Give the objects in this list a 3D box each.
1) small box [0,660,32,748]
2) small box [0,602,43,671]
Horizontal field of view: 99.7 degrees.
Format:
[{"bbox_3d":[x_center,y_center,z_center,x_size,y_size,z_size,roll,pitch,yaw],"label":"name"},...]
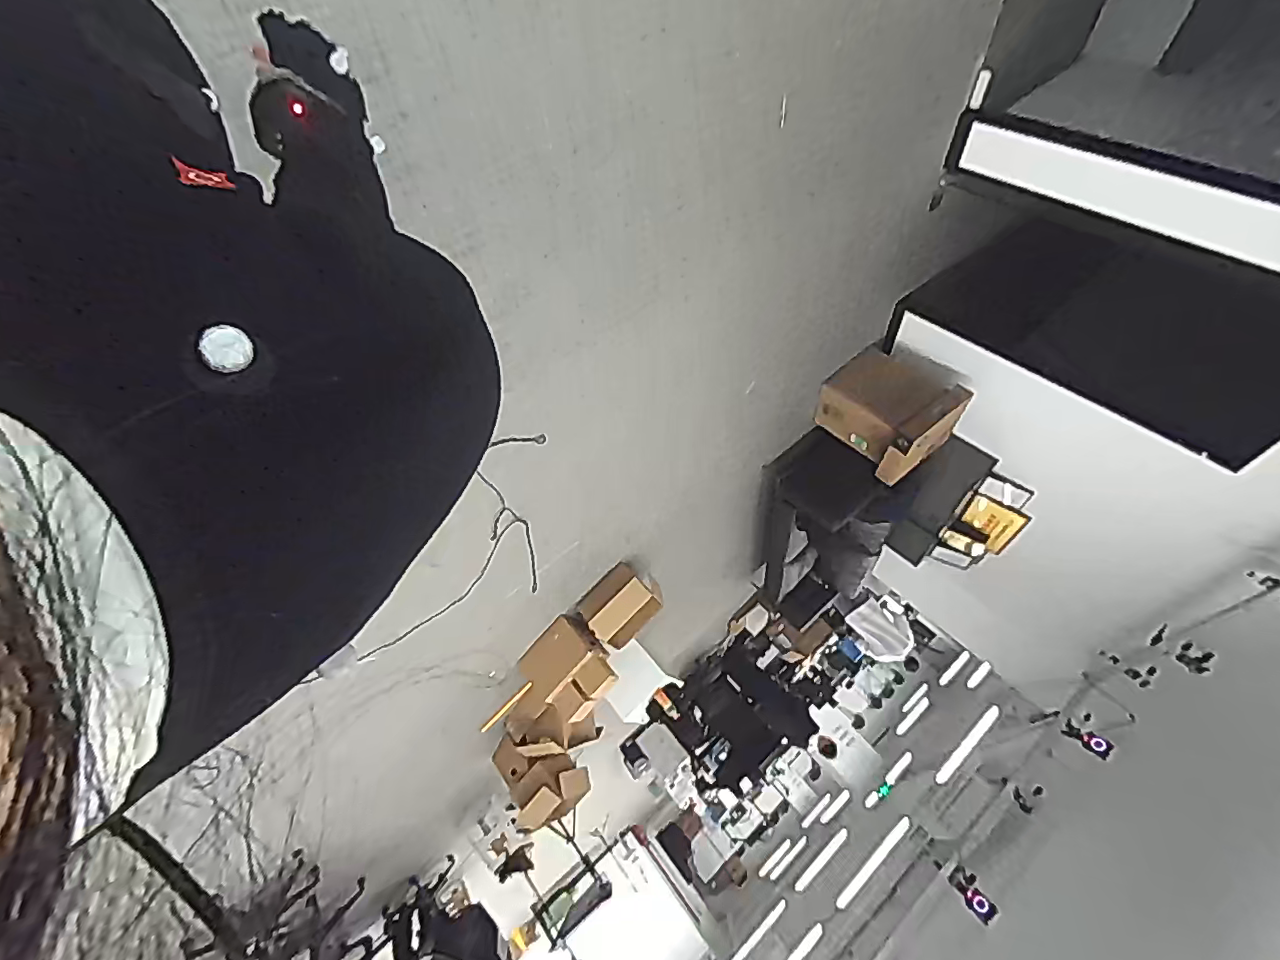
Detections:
[{"bbox_3d":[-1.470,0.498,1.149,0.179,0.176,0.168,-38,150,-15],"label":"small box"},{"bbox_3d":[-1.551,0.385,1.239,0.179,0.176,0.168,-39,150,-13],"label":"small box"}]
